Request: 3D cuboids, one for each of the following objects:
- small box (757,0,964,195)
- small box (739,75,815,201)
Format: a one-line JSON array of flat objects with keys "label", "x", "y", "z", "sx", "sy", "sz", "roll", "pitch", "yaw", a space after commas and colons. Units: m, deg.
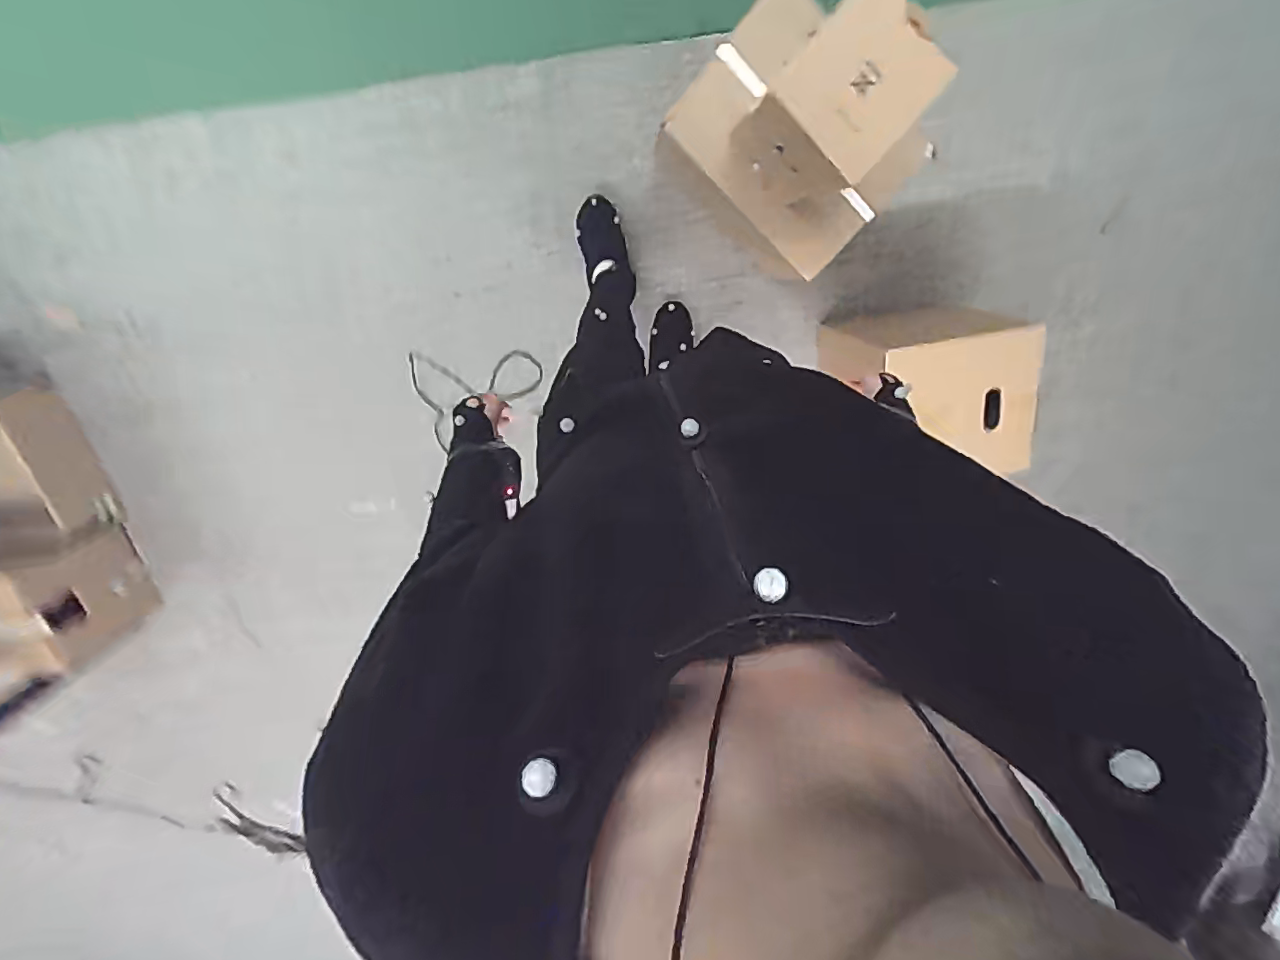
[{"label": "small box", "x": 0.288, "y": -0.531, "z": 0.748, "sx": 0.168, "sy": 0.176, "sz": 0.179, "roll": 42, "pitch": 106, "yaw": -14}, {"label": "small box", "x": 0.288, "y": -0.597, "z": 0.897, "sx": 0.179, "sy": 0.176, "sz": 0.168, "roll": -41, "pitch": 106, "yaw": 15}]
